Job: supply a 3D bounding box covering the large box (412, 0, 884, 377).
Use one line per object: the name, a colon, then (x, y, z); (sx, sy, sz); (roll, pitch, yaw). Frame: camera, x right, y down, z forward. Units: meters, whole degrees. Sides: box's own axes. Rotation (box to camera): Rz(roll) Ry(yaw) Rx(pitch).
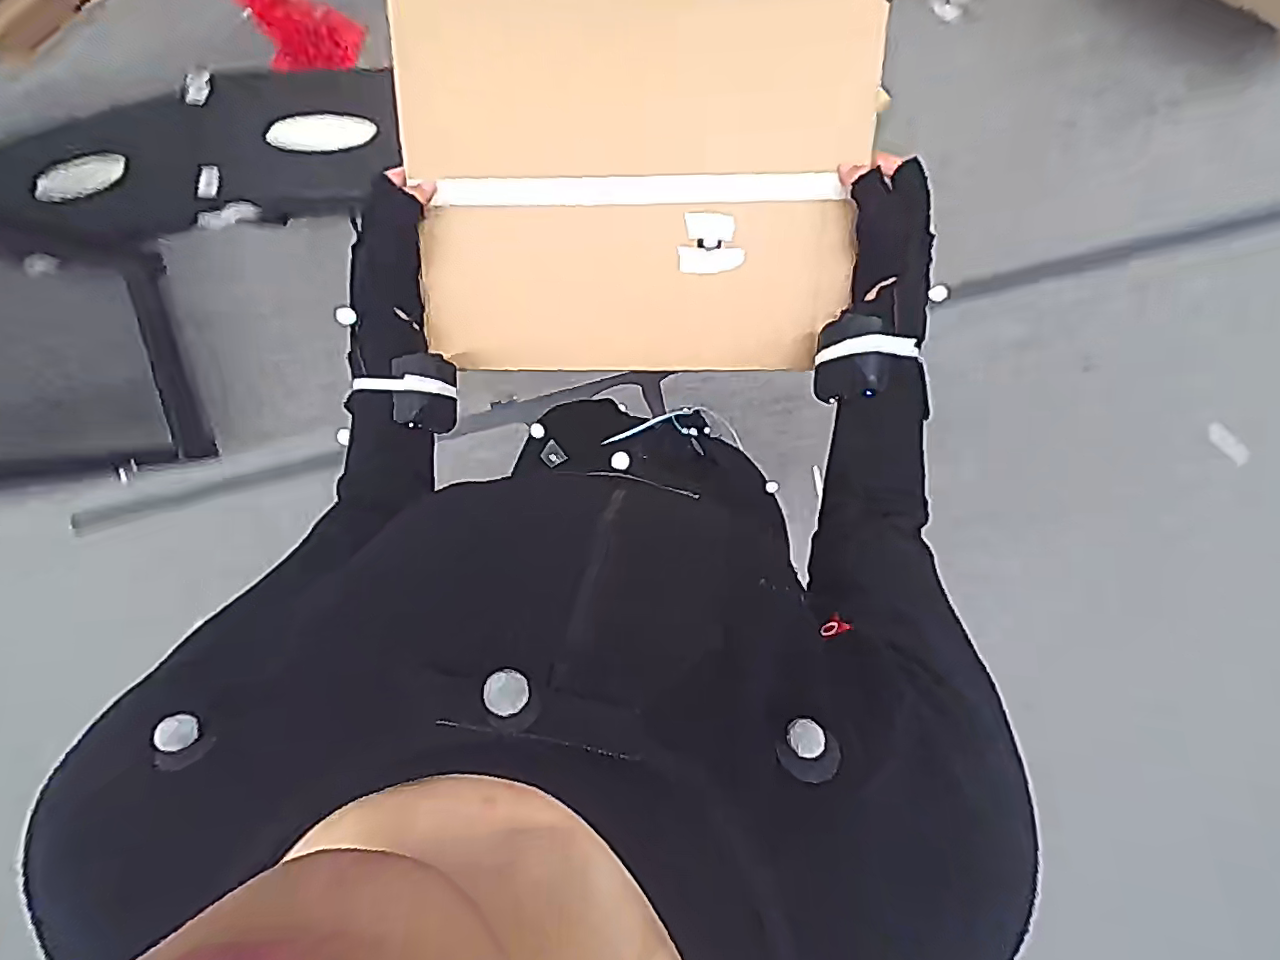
large box: (0.006, -0.294, 0.635); (0.408, 0.320, 0.320); (1, 108, 1)
